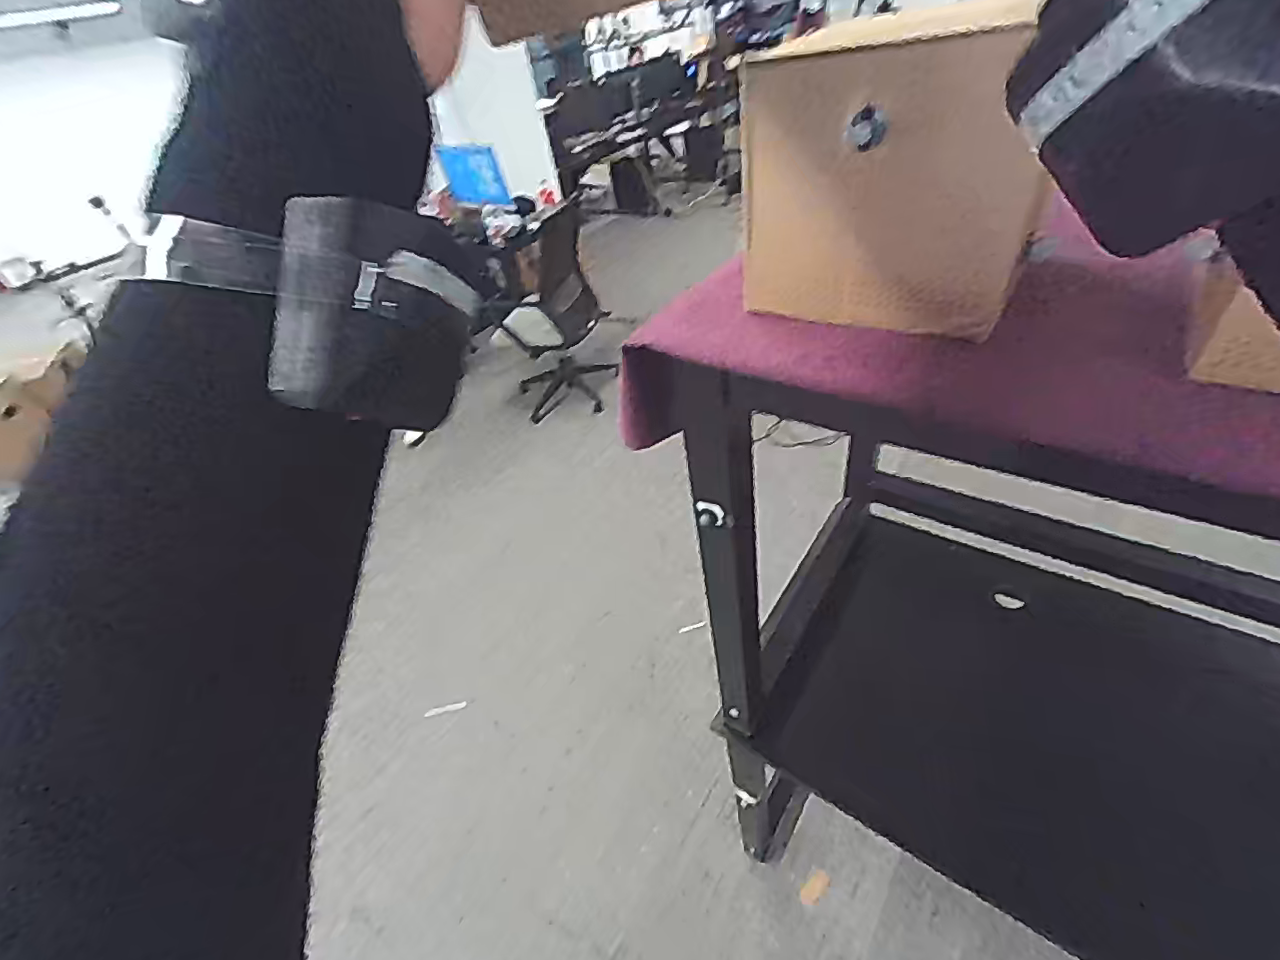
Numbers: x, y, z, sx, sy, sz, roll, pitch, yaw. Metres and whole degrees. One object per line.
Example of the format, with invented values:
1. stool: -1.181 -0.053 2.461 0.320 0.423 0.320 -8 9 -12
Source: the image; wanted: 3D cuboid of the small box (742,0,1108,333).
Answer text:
1. small box: 0.192 -0.223 0.391 0.179 0.176 0.168 20 50 32
